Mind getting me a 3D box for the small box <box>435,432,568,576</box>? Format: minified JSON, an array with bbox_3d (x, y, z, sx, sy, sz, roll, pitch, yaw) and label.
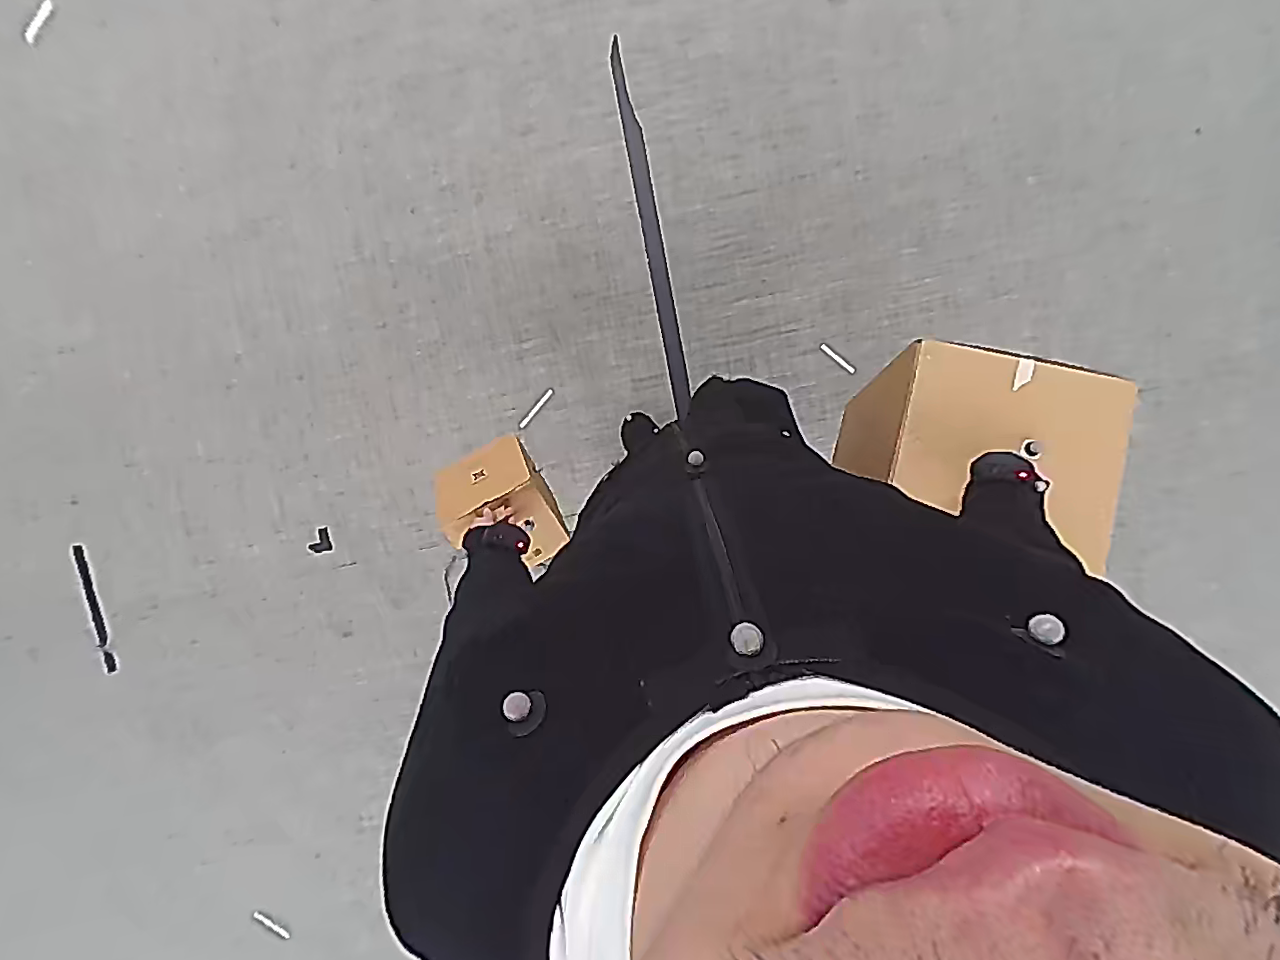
[{"bbox_3d":[-0.250,0.051,0.983,0.168,0.179,0.176,-28,129,-5],"label":"small box"}]
